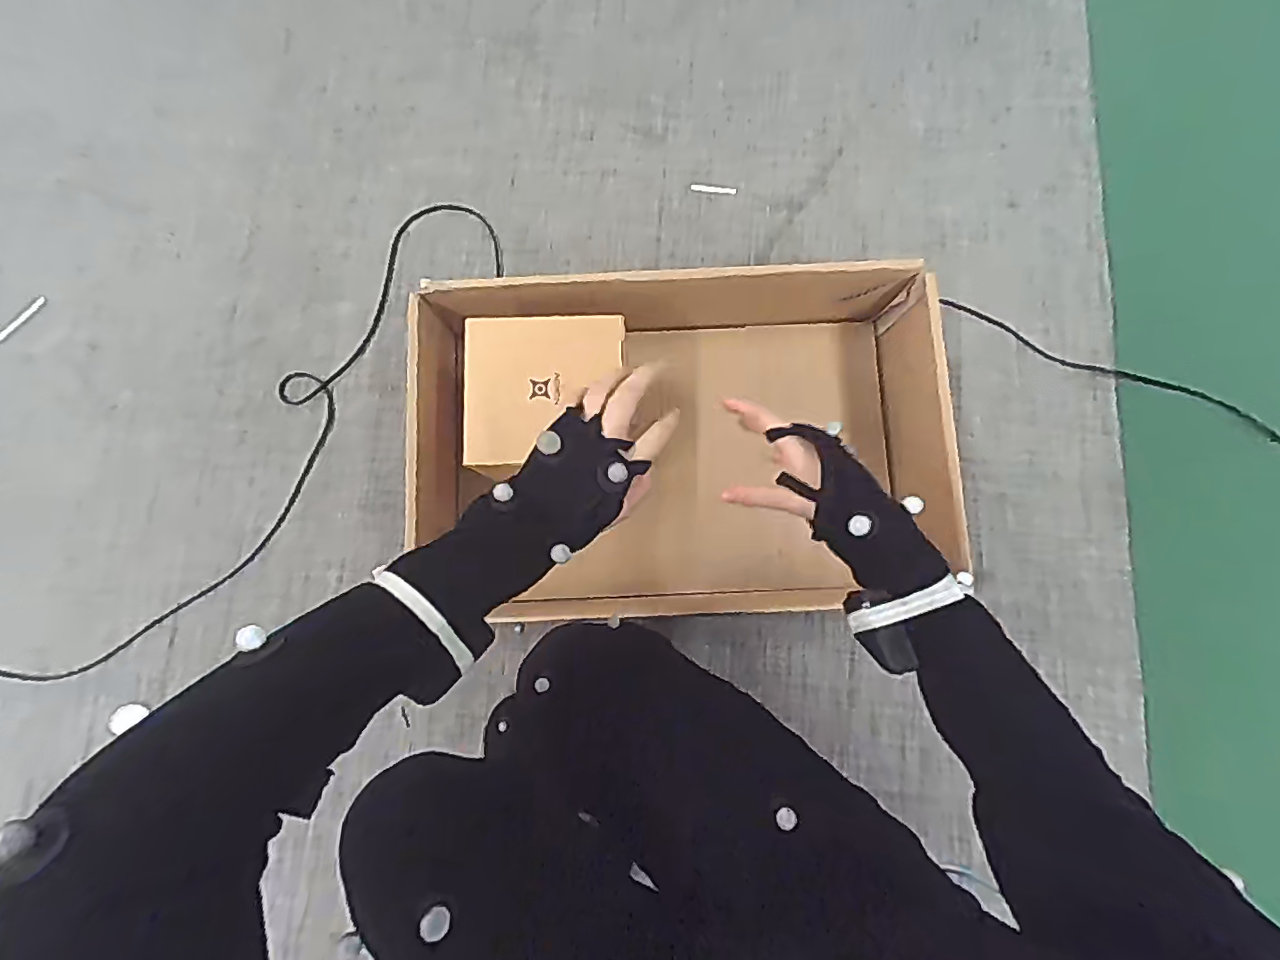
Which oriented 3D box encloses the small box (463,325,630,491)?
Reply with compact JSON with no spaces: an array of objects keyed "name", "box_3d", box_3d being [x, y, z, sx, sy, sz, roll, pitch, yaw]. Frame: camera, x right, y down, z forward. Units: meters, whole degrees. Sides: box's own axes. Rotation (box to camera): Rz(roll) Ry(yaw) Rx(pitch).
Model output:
[{"name":"small box","box_3d":[-0.103,-0.078,0.665,0.179,0.176,0.168,-2,82,0]}]
